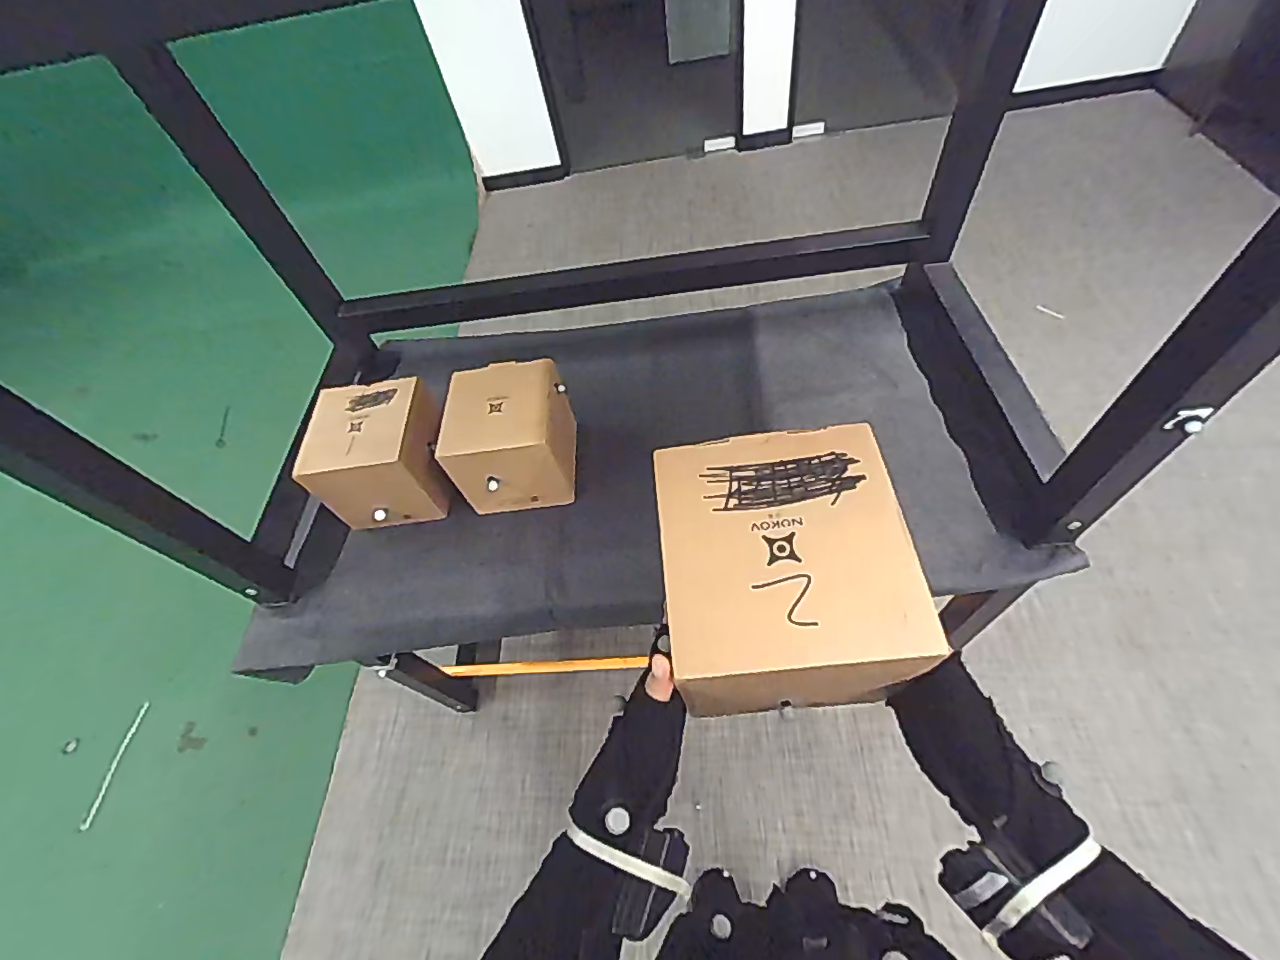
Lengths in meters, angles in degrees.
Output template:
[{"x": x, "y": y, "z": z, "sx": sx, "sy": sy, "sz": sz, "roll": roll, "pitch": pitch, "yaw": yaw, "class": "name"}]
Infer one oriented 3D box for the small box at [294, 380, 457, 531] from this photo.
[{"x": -0.421, "y": -0.037, "z": 0.897, "sx": 0.168, "sy": 0.176, "sz": 0.179, "roll": -8, "pitch": 55, "yaw": 5, "class": "small box"}]
